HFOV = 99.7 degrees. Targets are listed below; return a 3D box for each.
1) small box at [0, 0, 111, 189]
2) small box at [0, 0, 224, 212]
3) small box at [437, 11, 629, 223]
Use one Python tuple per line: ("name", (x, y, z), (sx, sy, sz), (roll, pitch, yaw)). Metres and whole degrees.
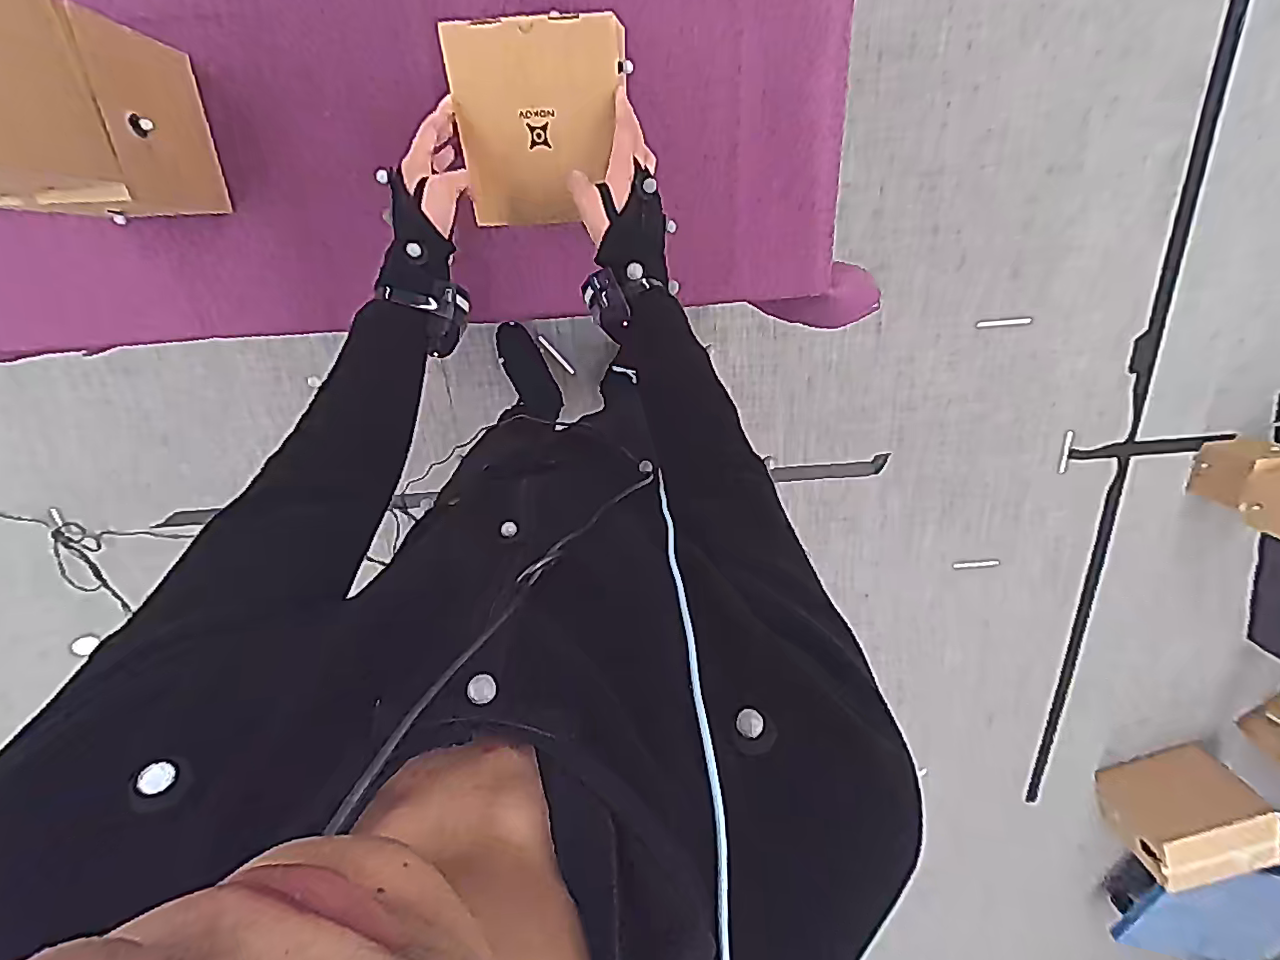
("small box", (-0.619, -0.349, 0.452), (0.168, 0.176, 0.179), (-6, 112, 0))
("small box", (-0.621, -0.402, 0.608), (0.168, 0.176, 0.179), (-2, 113, -2))
("small box", (-0.101, -0.403, 0.610), (0.168, 0.176, 0.179), (-1, 125, 3))
